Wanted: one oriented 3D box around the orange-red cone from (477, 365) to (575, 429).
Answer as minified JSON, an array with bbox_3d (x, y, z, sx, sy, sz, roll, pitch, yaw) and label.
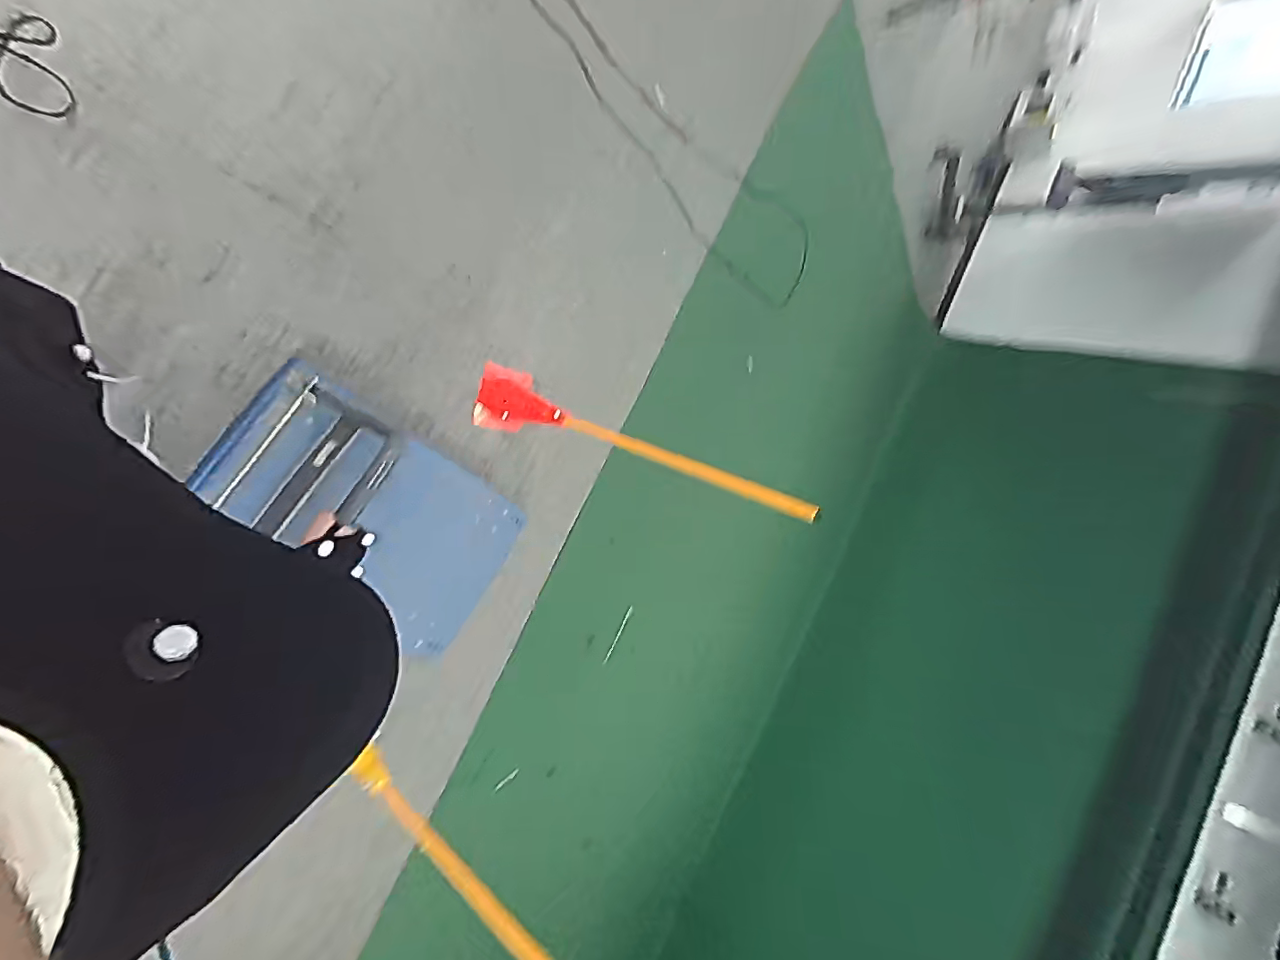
[{"bbox_3d":[-0.343,-0.239,1.775,0.198,0.360,0.199,9,98,-50],"label":"orange-red cone"}]
